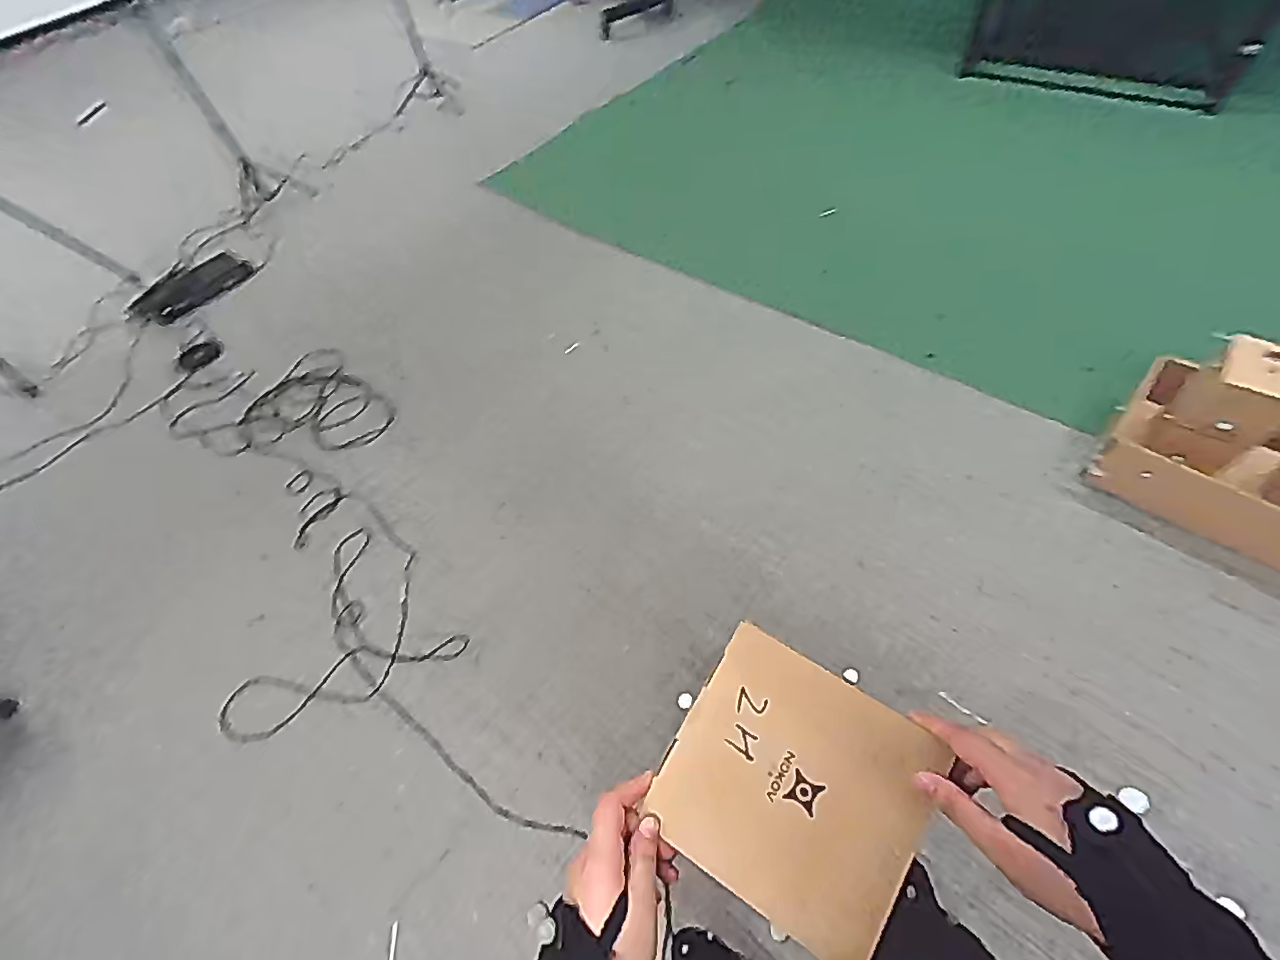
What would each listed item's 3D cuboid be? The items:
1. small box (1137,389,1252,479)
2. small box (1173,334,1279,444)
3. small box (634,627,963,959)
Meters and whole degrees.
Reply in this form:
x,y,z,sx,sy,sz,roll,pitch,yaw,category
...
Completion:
x,y,z,sx,sy,sz,roll,pitch,yaw,category
1.522,-0.138,1.481,0.168,0.176,0.179,30,66,24,small box
1.488,-0.223,1.343,0.168,0.176,0.179,28,67,23,small box
0.121,0.245,0.455,0.179,0.176,0.168,29,76,18,small box
